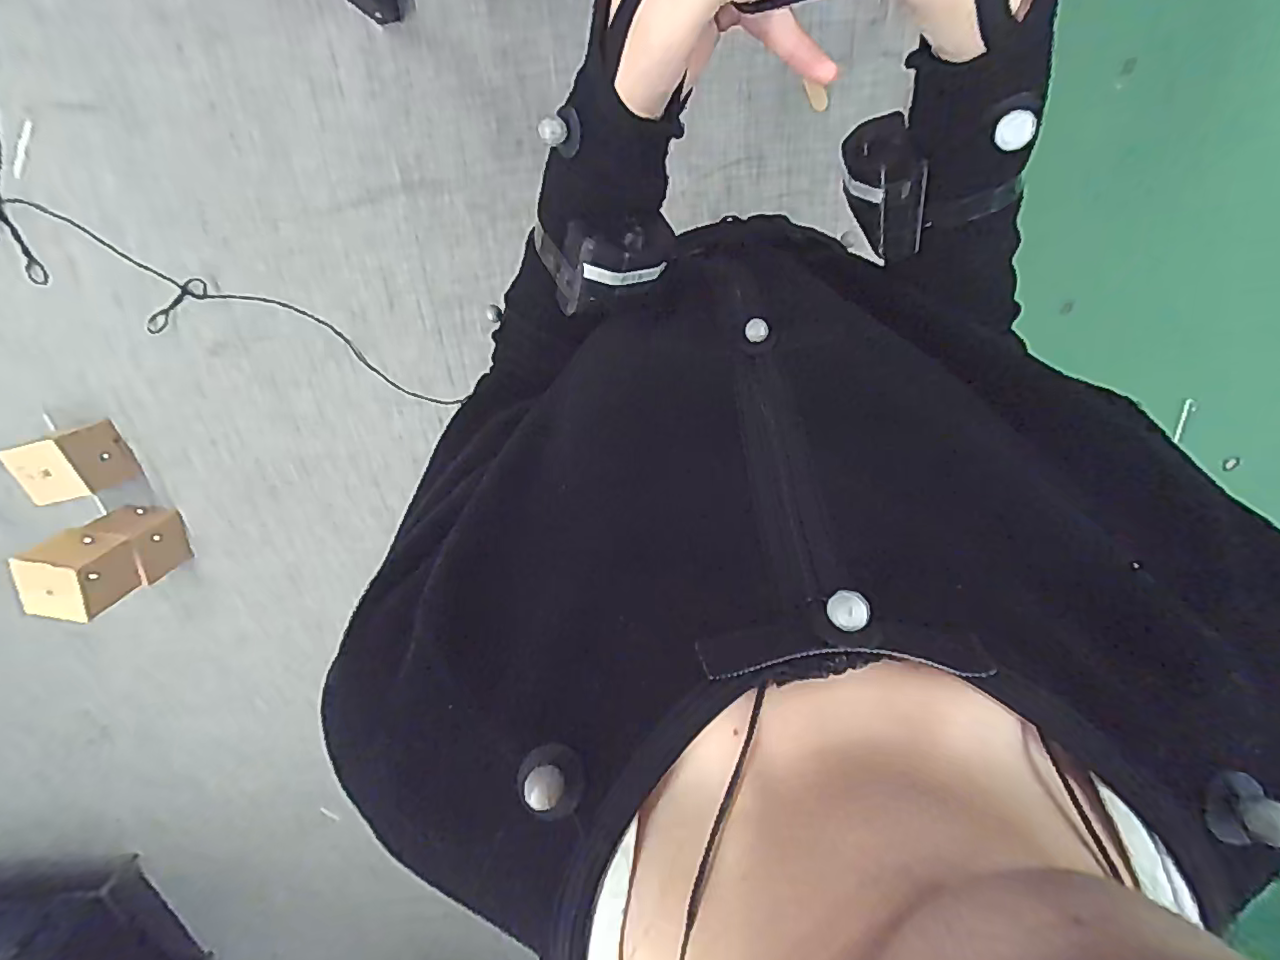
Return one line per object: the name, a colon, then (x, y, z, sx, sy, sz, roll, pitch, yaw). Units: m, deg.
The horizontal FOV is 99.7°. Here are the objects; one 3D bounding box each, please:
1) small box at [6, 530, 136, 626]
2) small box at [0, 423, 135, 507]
small box: (-1.526, 0.261, 1.467, 0.168, 0.176, 0.179, 12, 113, -3)
small box: (-1.575, -0.047, 1.504, 0.179, 0.176, 0.168, -10, 114, 6)
